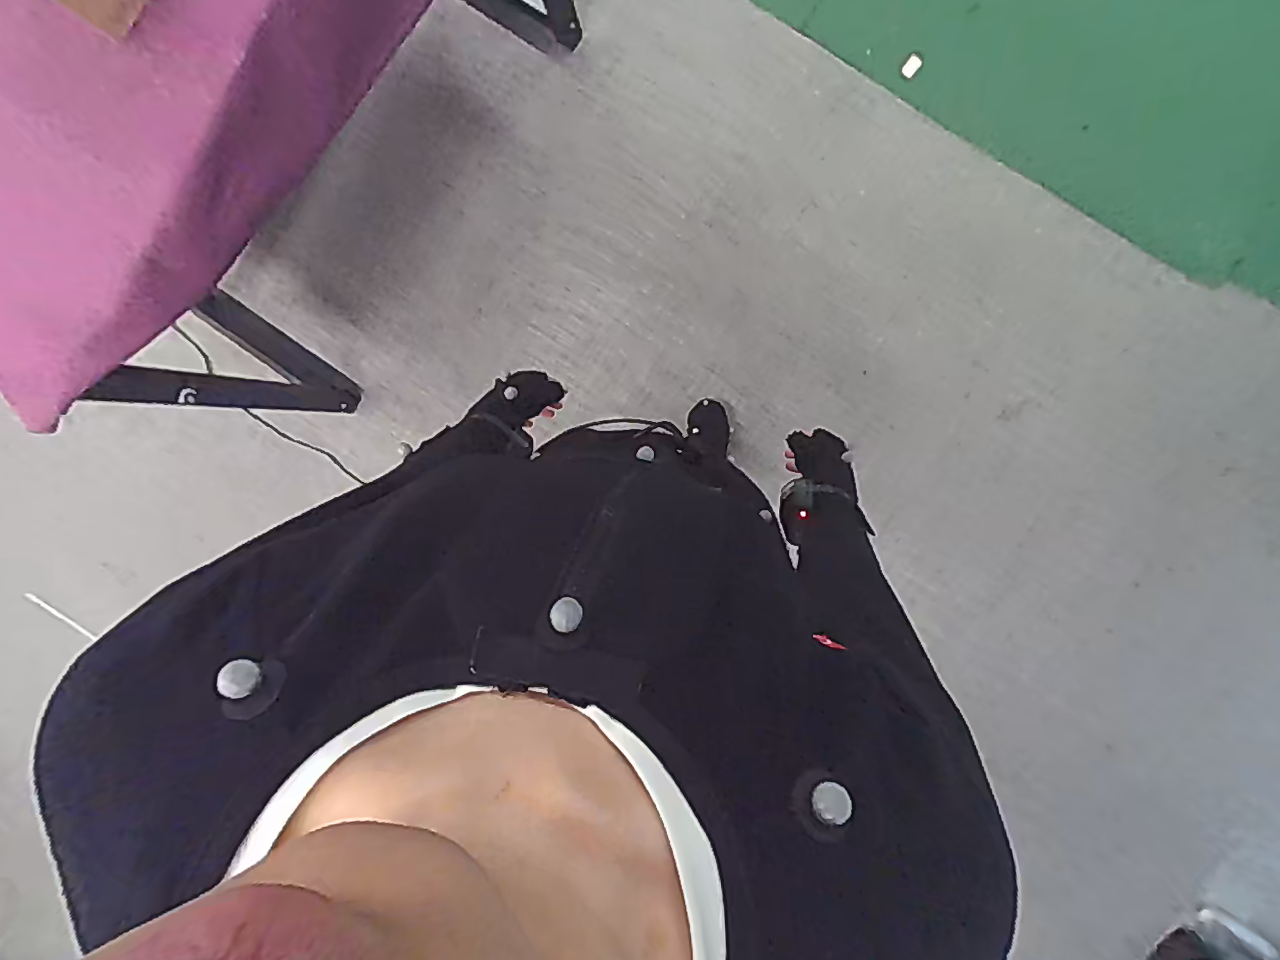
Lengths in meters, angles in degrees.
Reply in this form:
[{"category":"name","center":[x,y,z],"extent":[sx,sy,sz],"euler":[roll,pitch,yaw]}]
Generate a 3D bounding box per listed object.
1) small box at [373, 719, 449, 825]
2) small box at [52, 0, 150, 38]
[{"category":"small box","center":[-0.676,0.829,1.538],"extent":[0.168,0.176,0.179],"euler":[32,98,1]},{"category":"small box","center":[-0.746,-0.713,0.666],"extent":[0.179,0.176,0.168],"euler":[39,99,1]}]
